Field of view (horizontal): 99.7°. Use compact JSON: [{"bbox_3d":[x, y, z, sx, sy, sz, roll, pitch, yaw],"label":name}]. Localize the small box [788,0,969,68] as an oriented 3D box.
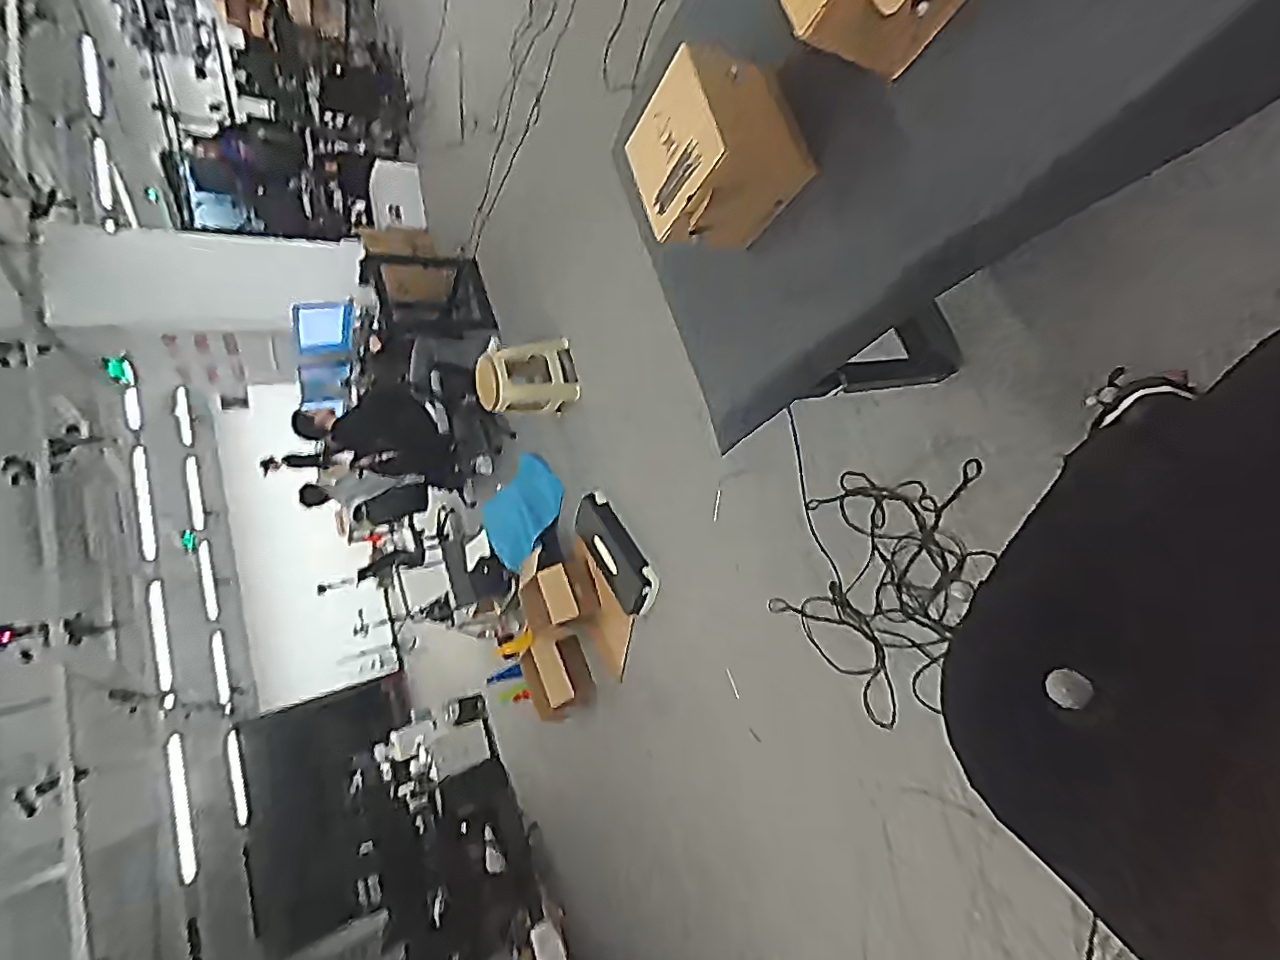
[{"bbox_3d":[0.249,-0.569,0.548,0.168,0.176,0.179,-39,67,54],"label":"small box"}]
